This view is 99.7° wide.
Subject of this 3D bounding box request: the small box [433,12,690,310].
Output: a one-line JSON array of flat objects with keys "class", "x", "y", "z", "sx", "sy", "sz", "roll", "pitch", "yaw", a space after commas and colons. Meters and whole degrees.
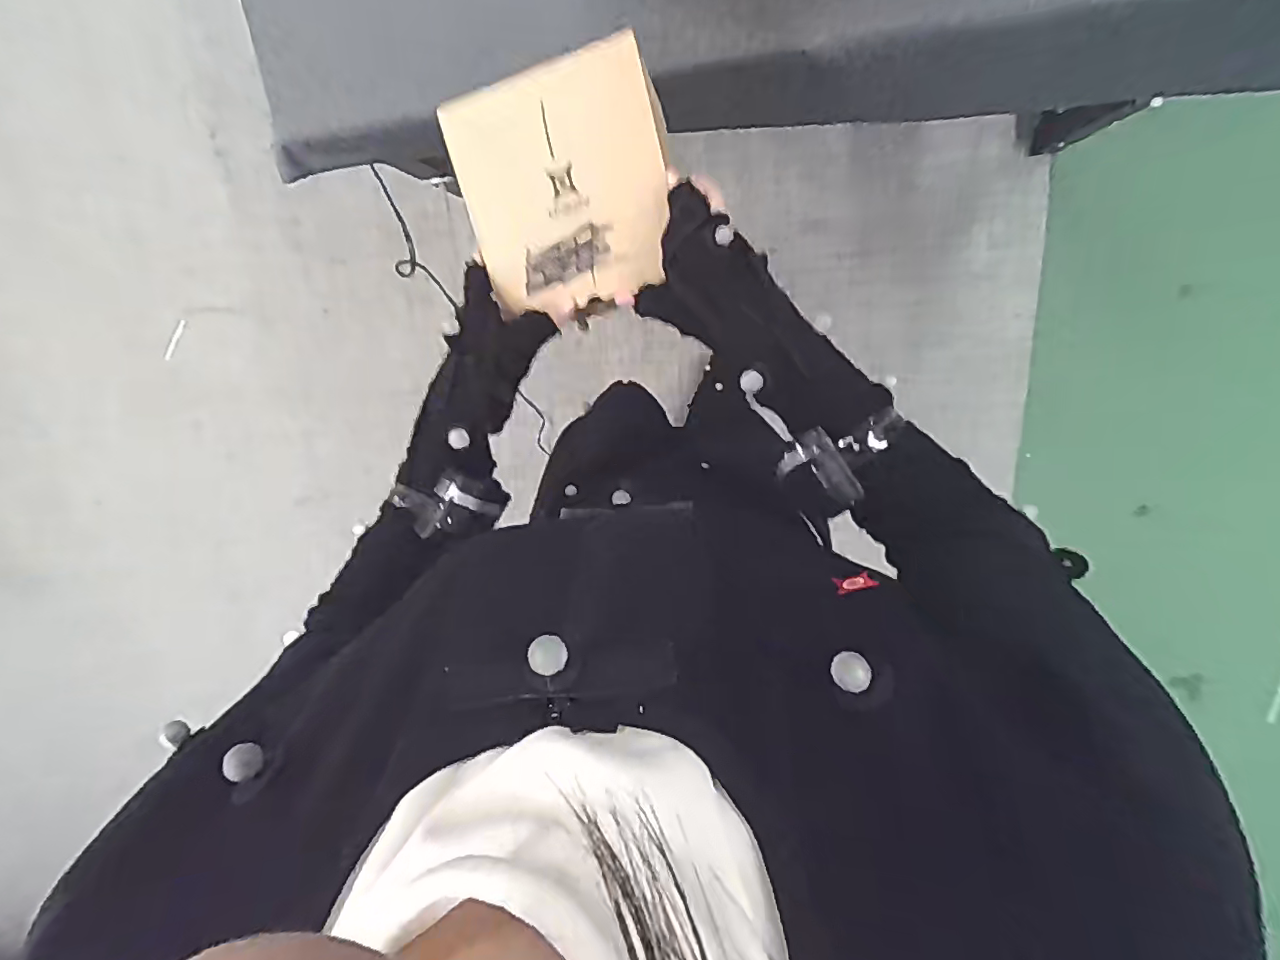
[{"class": "small box", "x": -0.052, "y": -0.266, "z": 0.500, "sx": 0.168, "sy": 0.176, "sz": 0.179, "roll": -11, "pitch": 106, "yaw": 12}]
